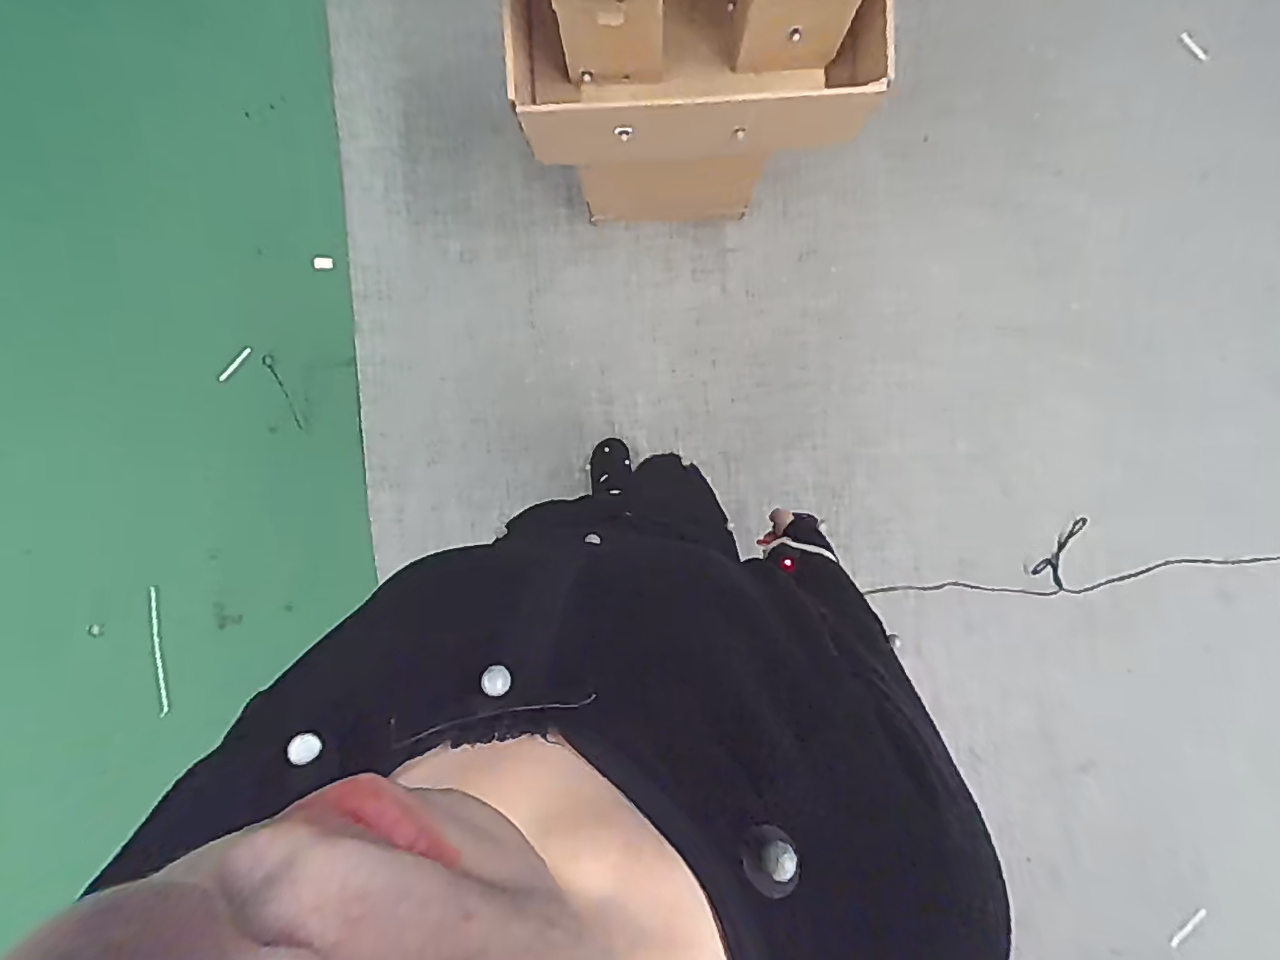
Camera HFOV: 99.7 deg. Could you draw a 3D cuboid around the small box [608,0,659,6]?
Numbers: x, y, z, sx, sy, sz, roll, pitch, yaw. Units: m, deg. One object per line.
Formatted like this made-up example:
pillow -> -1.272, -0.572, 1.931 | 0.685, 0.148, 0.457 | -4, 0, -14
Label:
small box -> -0.044, -0.797, 0.733 | 0.168, 0.176, 0.179 | 3, 92, 0
